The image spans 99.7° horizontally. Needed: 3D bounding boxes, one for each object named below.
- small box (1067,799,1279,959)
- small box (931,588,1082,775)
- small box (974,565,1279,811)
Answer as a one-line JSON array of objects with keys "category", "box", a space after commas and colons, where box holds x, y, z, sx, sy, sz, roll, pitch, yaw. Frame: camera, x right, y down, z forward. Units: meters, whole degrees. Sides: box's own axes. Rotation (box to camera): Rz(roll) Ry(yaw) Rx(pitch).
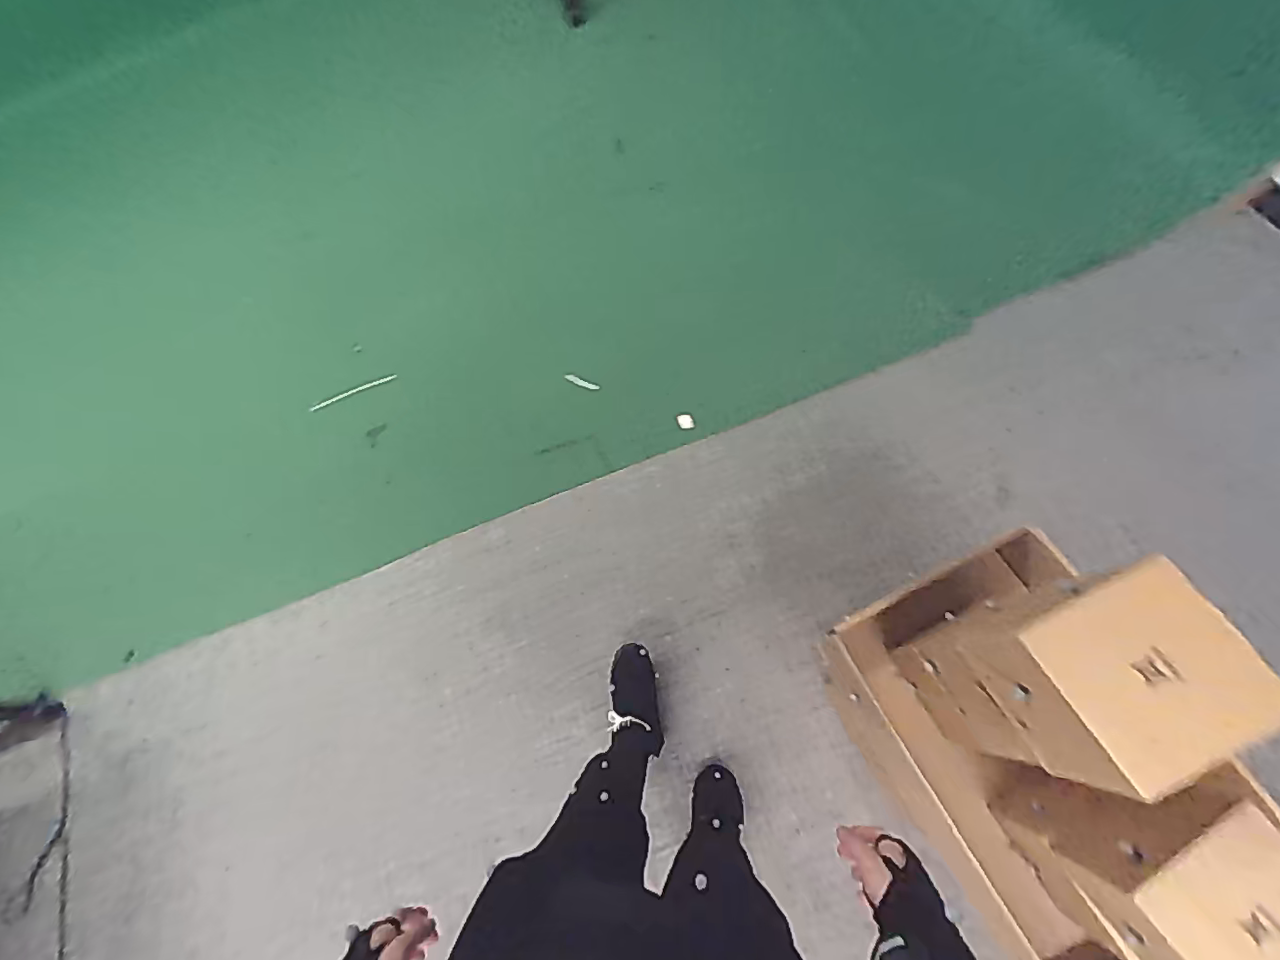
[{"category": "small box", "box": [0.648, 0.499, 0.622, 0.179, 0.176, 0.168, -34, 69, -4]}, {"category": "small box", "box": [0.526, 0.269, 0.728, 0.179, 0.176, 0.168, -25, 68, -2]}, {"category": "small box", "box": [0.498, 0.217, 0.577, 0.179, 0.176, 0.168, -27, 67, -3]}]
